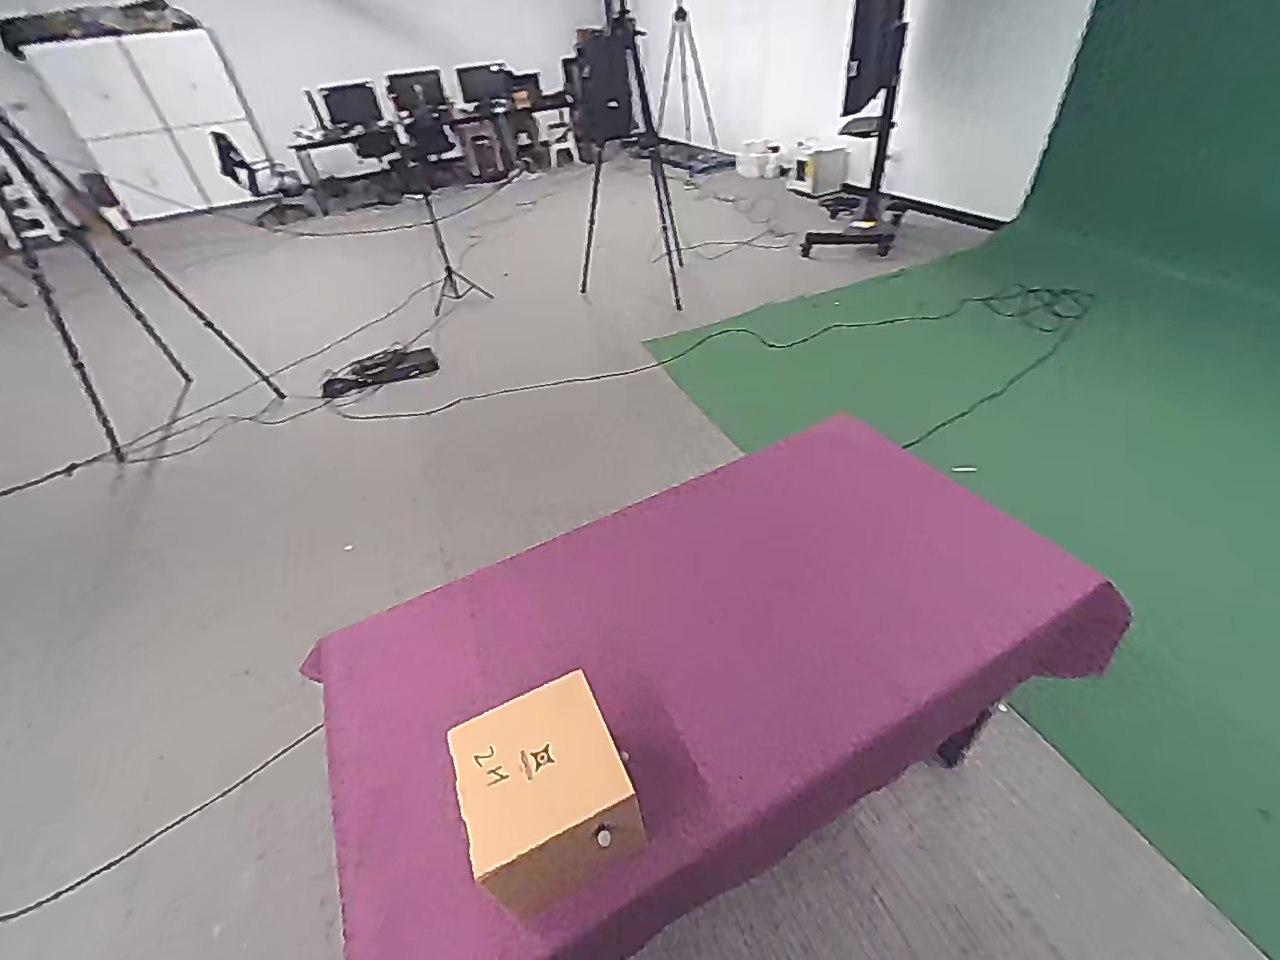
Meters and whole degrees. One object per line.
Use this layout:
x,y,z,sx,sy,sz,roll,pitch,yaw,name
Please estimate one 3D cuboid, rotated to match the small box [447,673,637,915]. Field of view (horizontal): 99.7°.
-0.111,0.378,0.657,0.179,0.176,0.168,-21,41,-15,small box
